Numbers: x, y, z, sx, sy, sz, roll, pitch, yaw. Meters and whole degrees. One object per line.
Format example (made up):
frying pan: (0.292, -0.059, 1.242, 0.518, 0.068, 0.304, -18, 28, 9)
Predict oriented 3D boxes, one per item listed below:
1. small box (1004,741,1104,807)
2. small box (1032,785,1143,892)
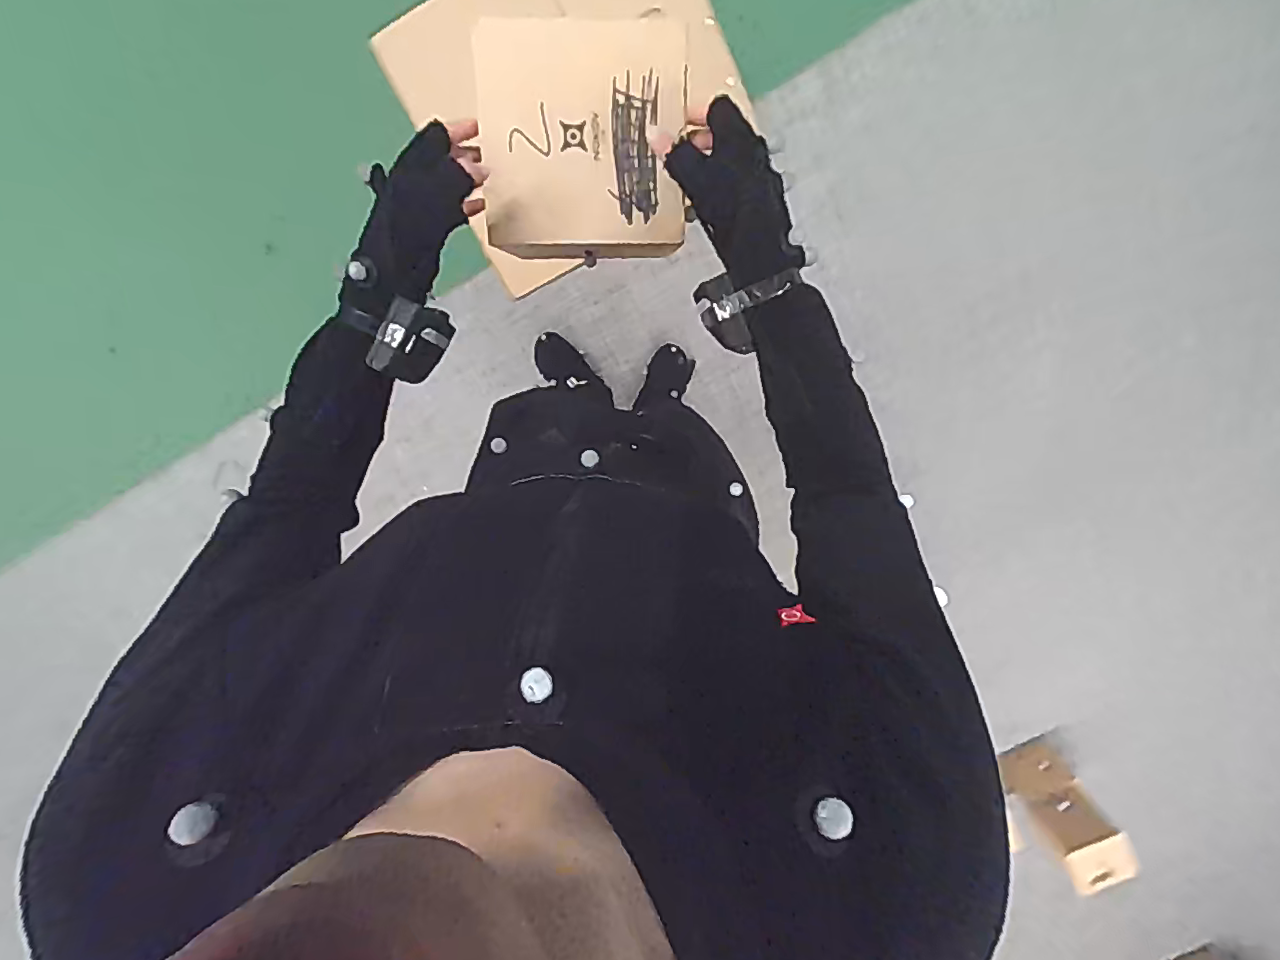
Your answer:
small box: (1.318, 0.975, 1.733, 0.168, 0.176, 0.179, -35, 105, 7)
small box: (1.299, 1.041, 1.580, 0.168, 0.176, 0.179, -28, 105, 6)
